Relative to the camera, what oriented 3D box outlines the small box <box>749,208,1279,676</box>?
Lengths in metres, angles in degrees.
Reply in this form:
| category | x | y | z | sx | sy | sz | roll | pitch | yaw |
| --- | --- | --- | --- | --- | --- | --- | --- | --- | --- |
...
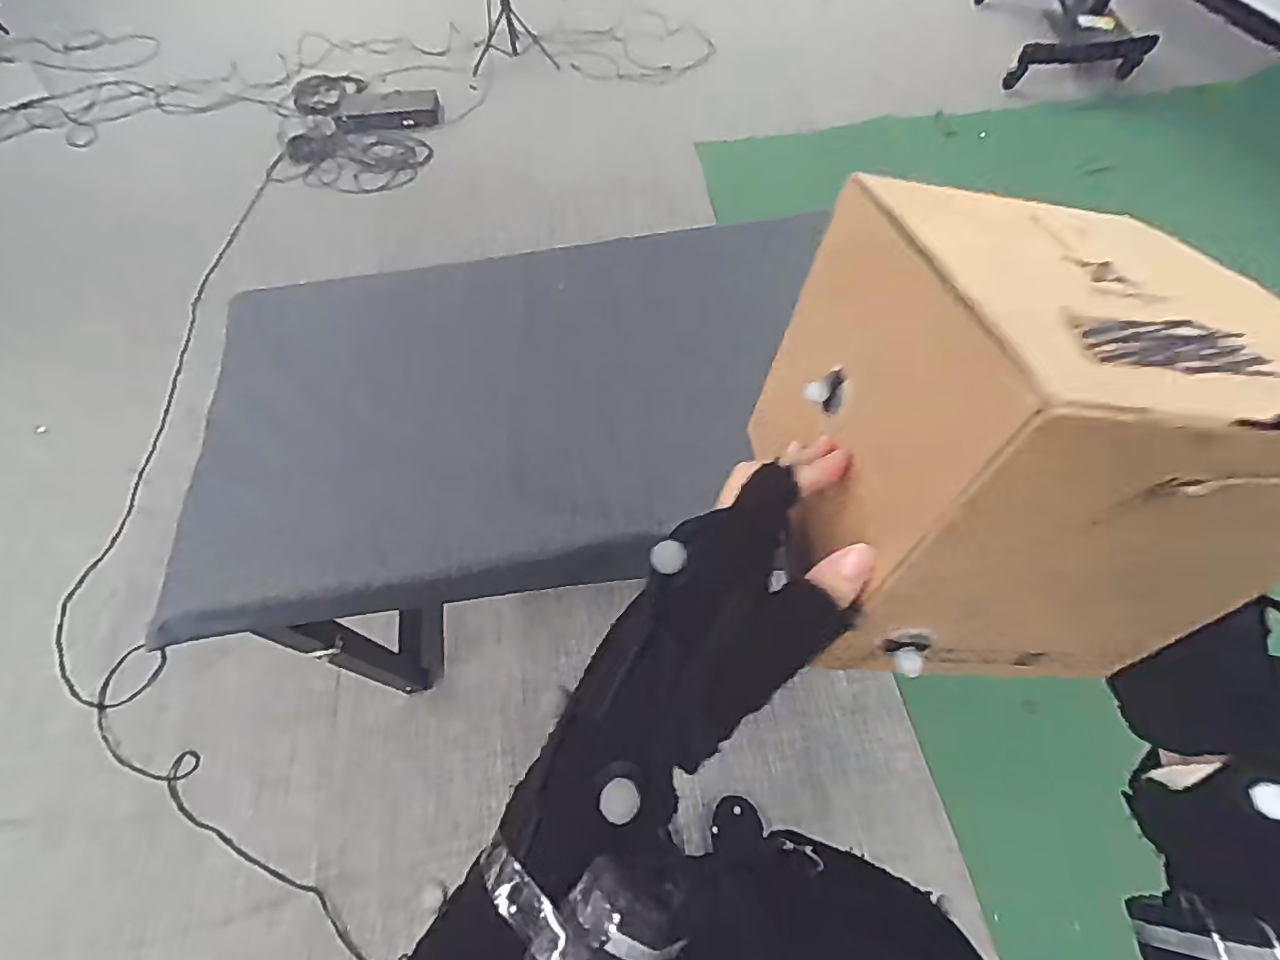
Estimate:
| category | x | y | z | sx | sy | sz | roll | pitch | yaw |
| --- | --- | --- | --- | --- | --- | --- | --- | --- | --- |
| small box | 0.169 | -0.013 | 0.283 | 0.168 | 0.176 | 0.179 | 5 | 46 | -8 |
